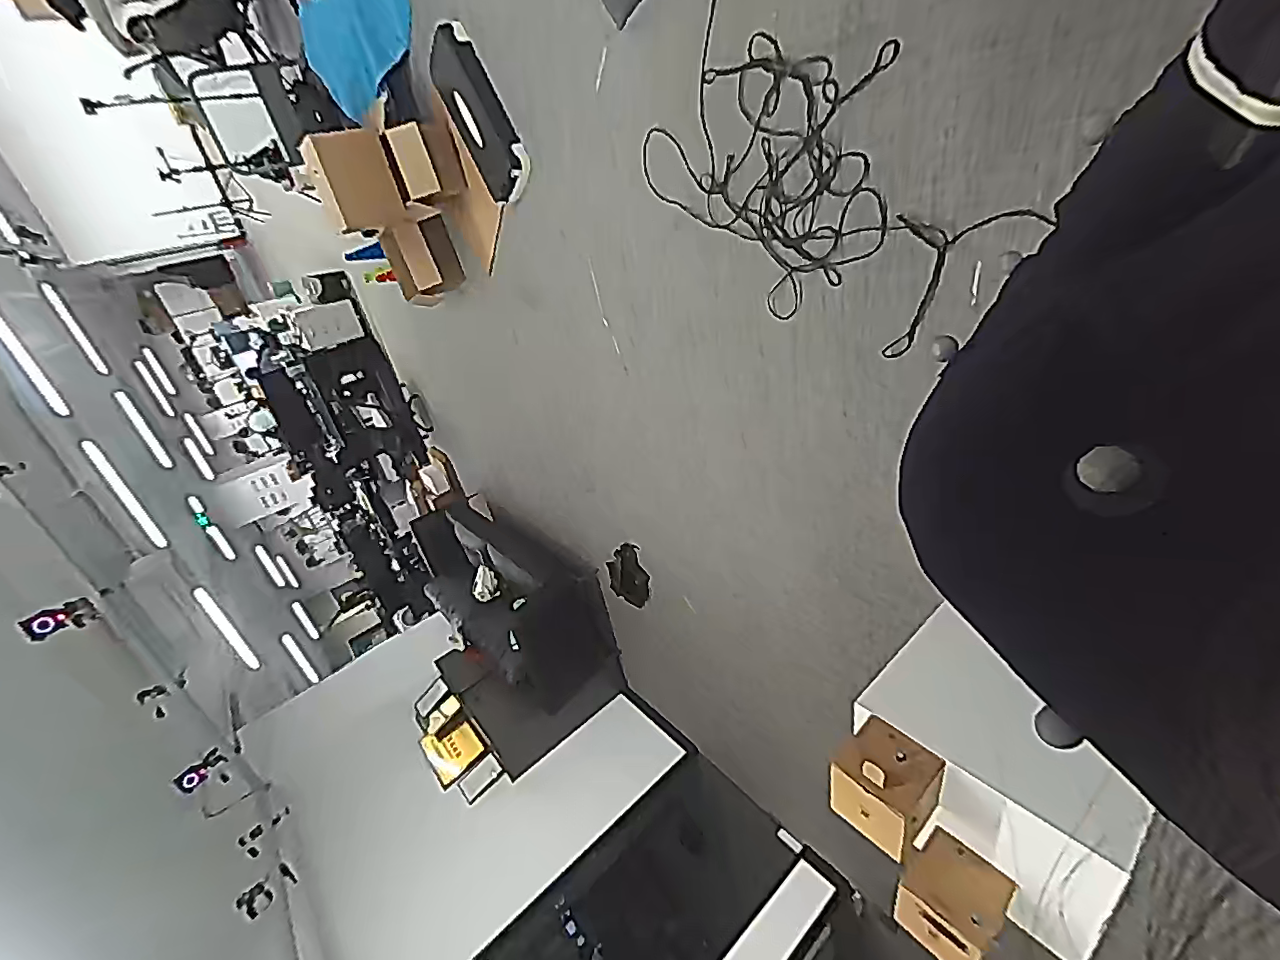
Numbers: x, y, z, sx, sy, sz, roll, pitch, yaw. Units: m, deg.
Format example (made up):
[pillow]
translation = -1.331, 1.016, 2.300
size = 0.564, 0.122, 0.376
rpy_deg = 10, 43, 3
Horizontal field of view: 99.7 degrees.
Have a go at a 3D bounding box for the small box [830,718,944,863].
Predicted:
[small box]
translation = 0.534, 0.666, 1.175
size = 0.168, 0.176, 0.179
rpy_deg = 25, 135, 46
